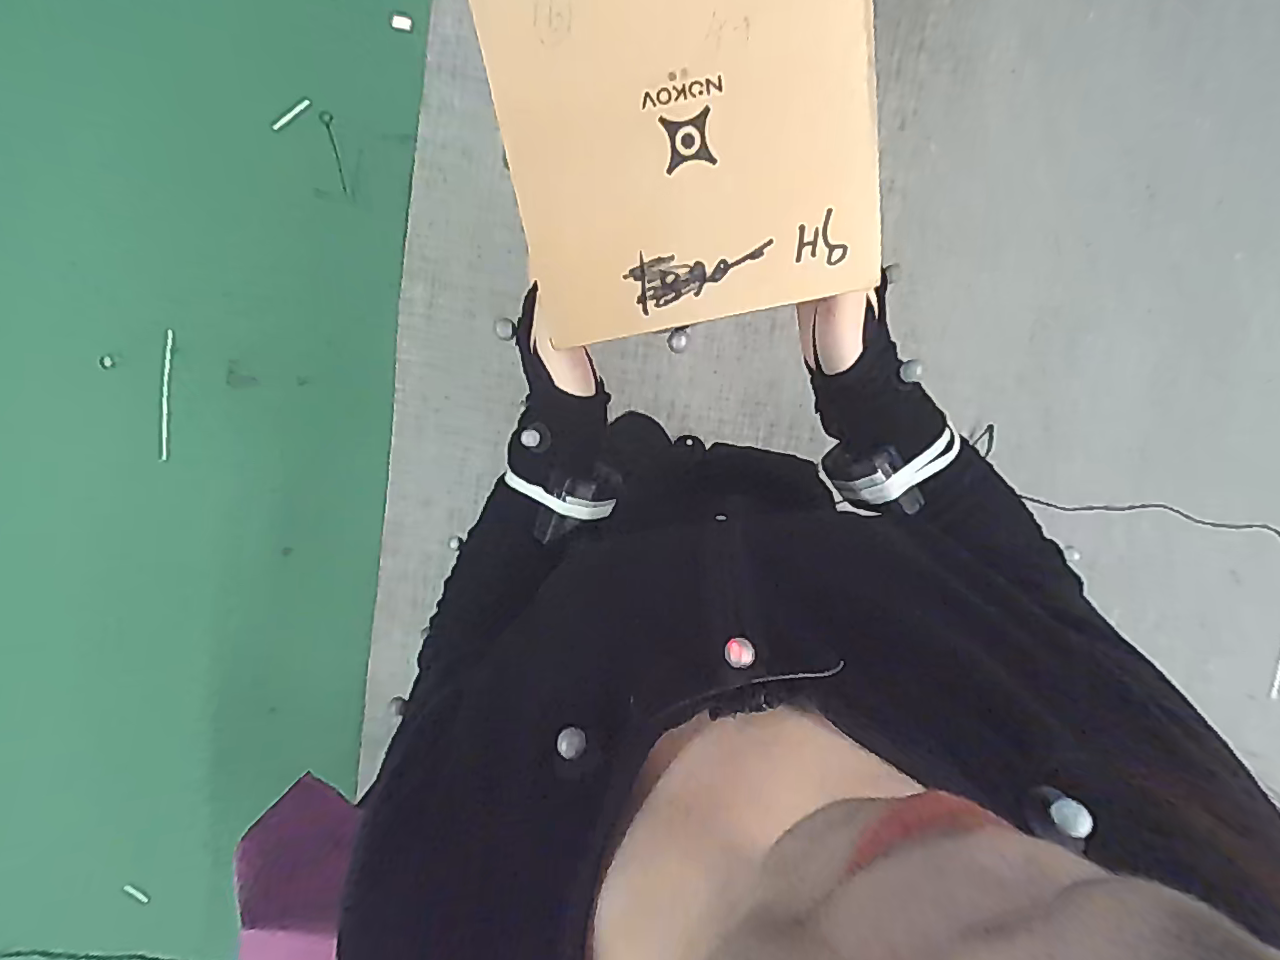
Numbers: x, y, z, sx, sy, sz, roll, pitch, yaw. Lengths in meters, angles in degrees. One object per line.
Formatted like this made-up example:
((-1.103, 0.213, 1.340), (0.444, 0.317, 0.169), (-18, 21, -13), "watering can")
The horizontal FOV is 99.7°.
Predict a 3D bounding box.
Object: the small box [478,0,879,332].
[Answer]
((0.019, -0.190, 0.313), (0.168, 0.176, 0.179), (-10, 108, 3), "small box")
